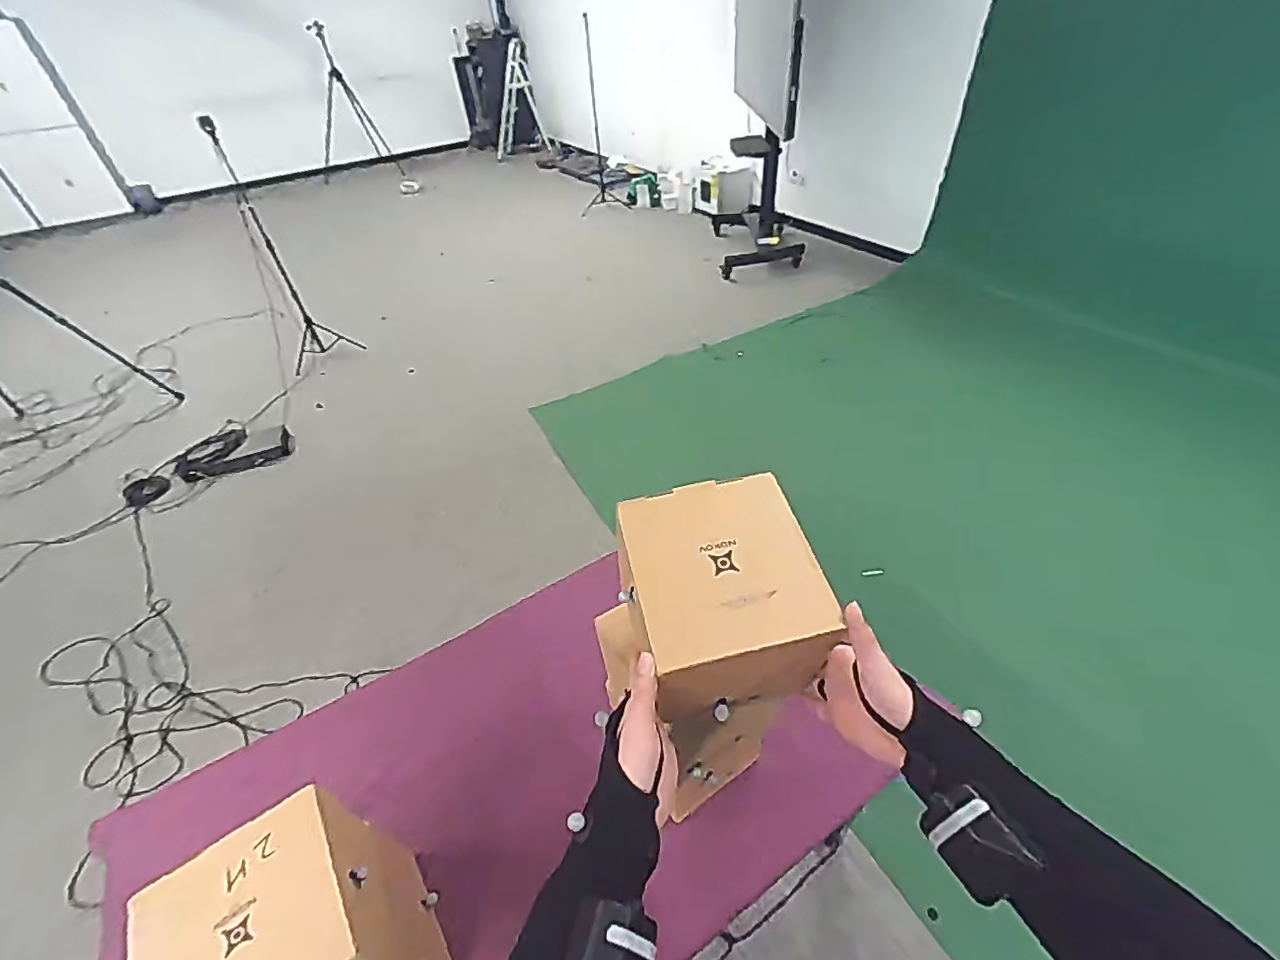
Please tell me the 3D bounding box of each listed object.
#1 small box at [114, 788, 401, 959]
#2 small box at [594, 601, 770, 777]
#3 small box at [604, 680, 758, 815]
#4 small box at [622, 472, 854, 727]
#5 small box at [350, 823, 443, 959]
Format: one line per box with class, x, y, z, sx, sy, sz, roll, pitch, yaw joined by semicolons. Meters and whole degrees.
small box;-0.355;0.452;0.523;0.168;0.176;0.179;-27;47;-25
small box;0.059;0.253;0.706;0.168;0.176;0.179;-24;43;-20
small box;0.067;0.371;0.821;0.168;0.176;0.179;-27;45;-22
small box;0.077;0.120;0.537;0.168;0.176;0.179;-10;53;-7
small box;-0.355;0.565;0.643;0.168;0.176;0.179;-29;47;-24
